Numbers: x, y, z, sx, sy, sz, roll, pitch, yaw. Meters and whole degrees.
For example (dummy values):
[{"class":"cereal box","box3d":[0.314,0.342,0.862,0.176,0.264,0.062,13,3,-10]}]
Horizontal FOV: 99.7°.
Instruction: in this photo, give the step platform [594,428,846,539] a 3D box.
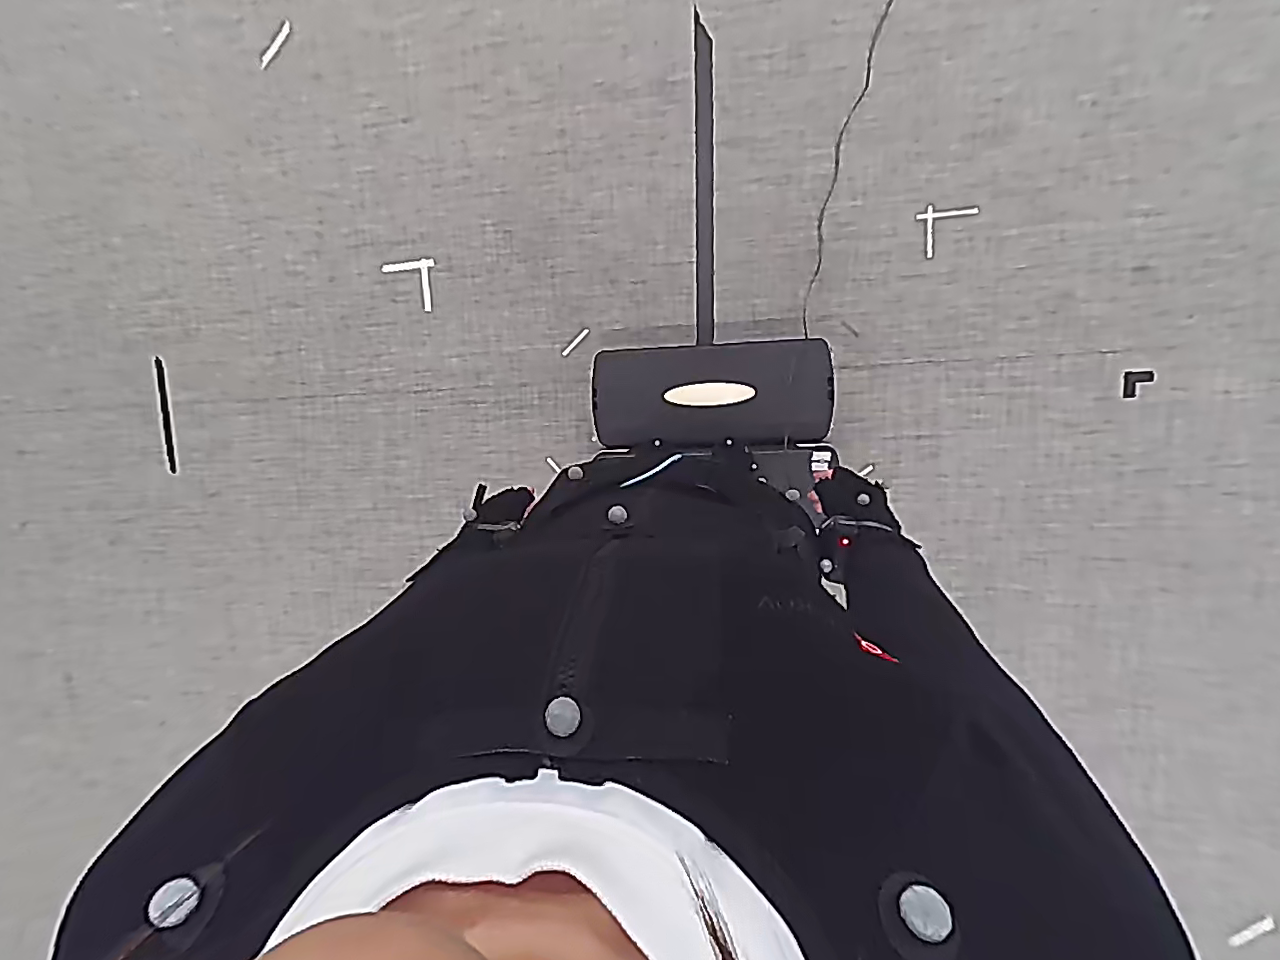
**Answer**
[{"class":"step platform","box3d":[0.214,0.013,1.513,0.684,0.204,0.286,-2,95,10]}]
